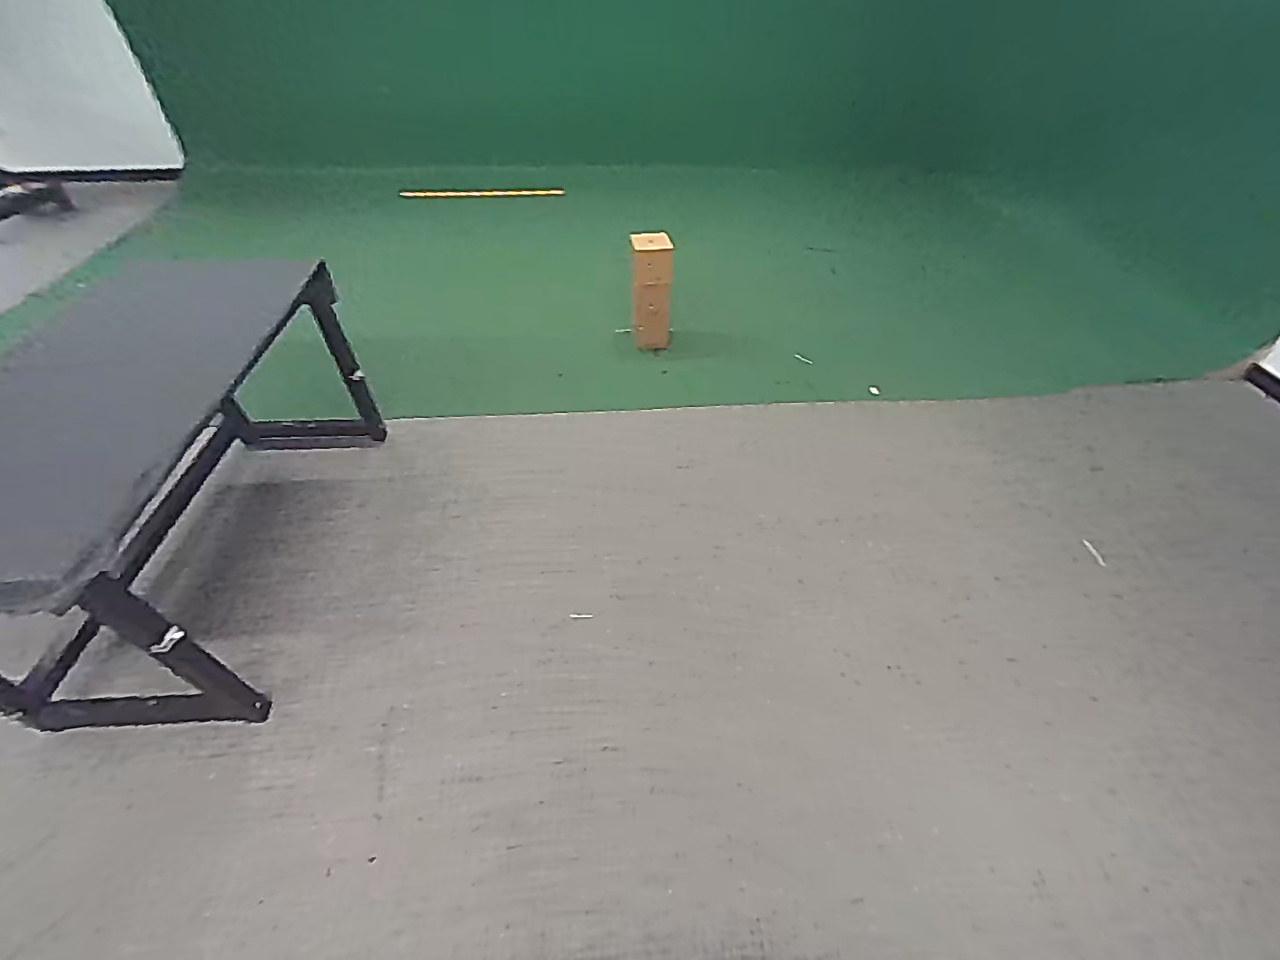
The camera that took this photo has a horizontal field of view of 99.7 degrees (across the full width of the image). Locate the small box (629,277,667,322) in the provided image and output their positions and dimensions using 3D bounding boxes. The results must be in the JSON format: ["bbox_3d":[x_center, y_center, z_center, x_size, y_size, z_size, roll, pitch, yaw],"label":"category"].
[{"bbox_3d":[0.036,-0.881,2.607,0.168,0.176,0.179,-5,46,-5],"label":"small box"}]

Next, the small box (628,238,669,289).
[{"bbox_3d":[0.039,-0.992,2.489,0.168,0.176,0.179,-7,45,-7],"label":"small box"}]
